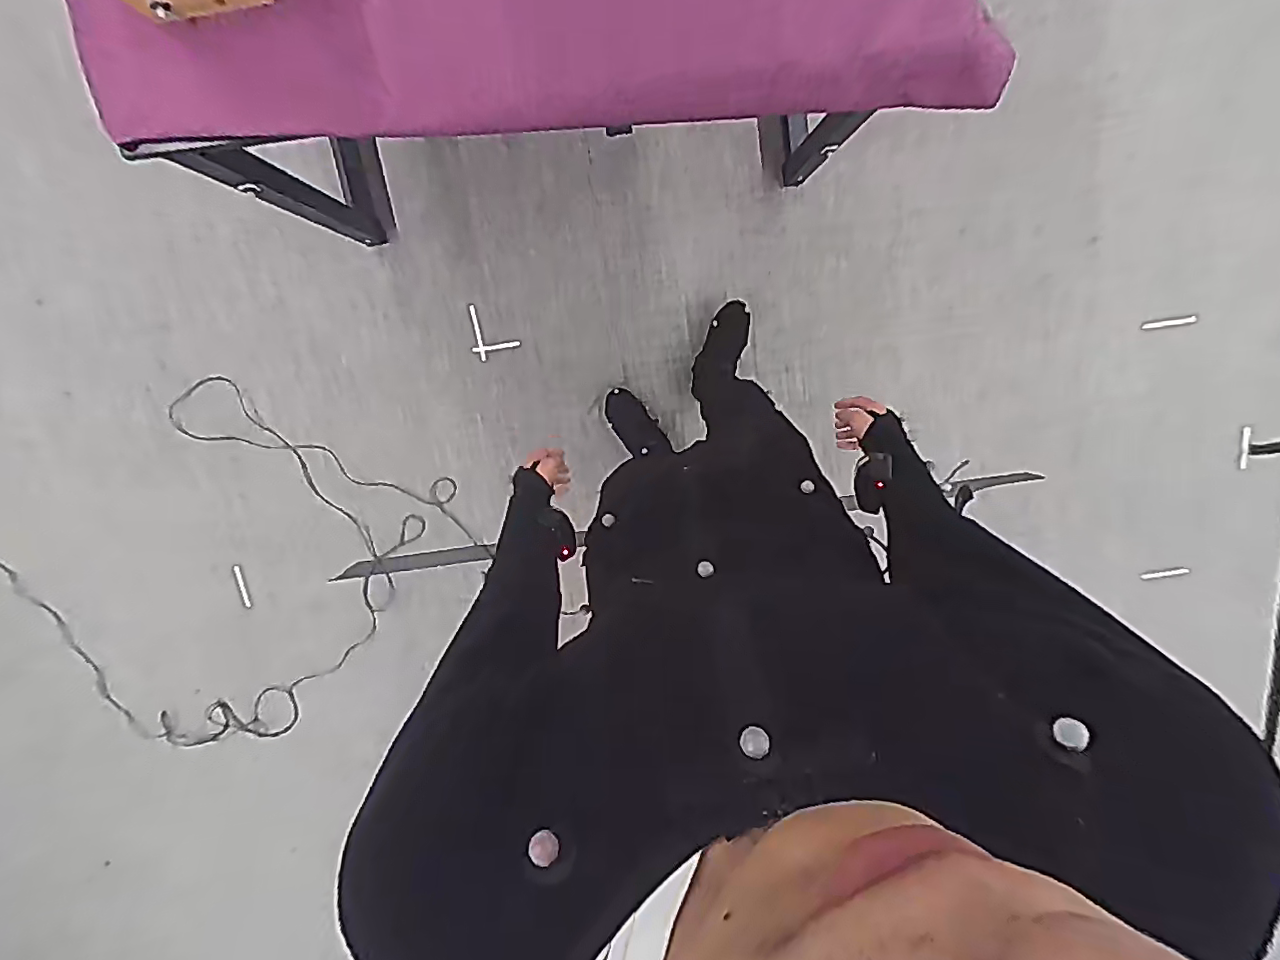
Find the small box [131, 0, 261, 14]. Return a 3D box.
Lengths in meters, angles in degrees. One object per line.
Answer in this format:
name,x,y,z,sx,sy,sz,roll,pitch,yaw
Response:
small box,-0.578,-0.684,0.621,0.168,0.176,0.179,-10,101,0
